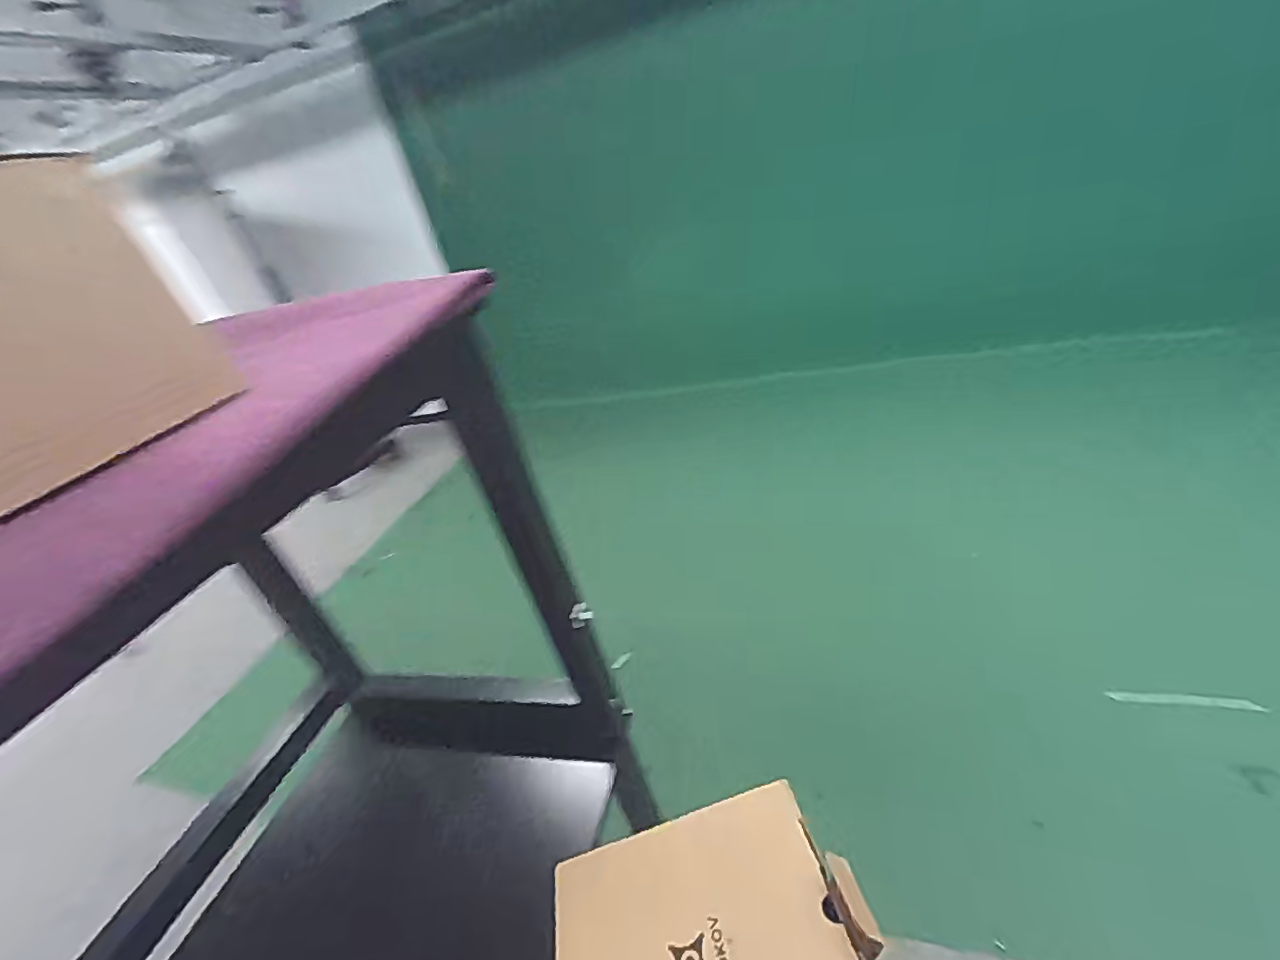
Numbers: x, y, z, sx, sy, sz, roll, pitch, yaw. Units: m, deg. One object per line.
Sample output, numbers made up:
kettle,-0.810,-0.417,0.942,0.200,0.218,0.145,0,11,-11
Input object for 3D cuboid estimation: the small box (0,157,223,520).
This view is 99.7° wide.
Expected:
small box,-0.427,-0.074,0.335,0.168,0.176,0.179,-6,32,20
